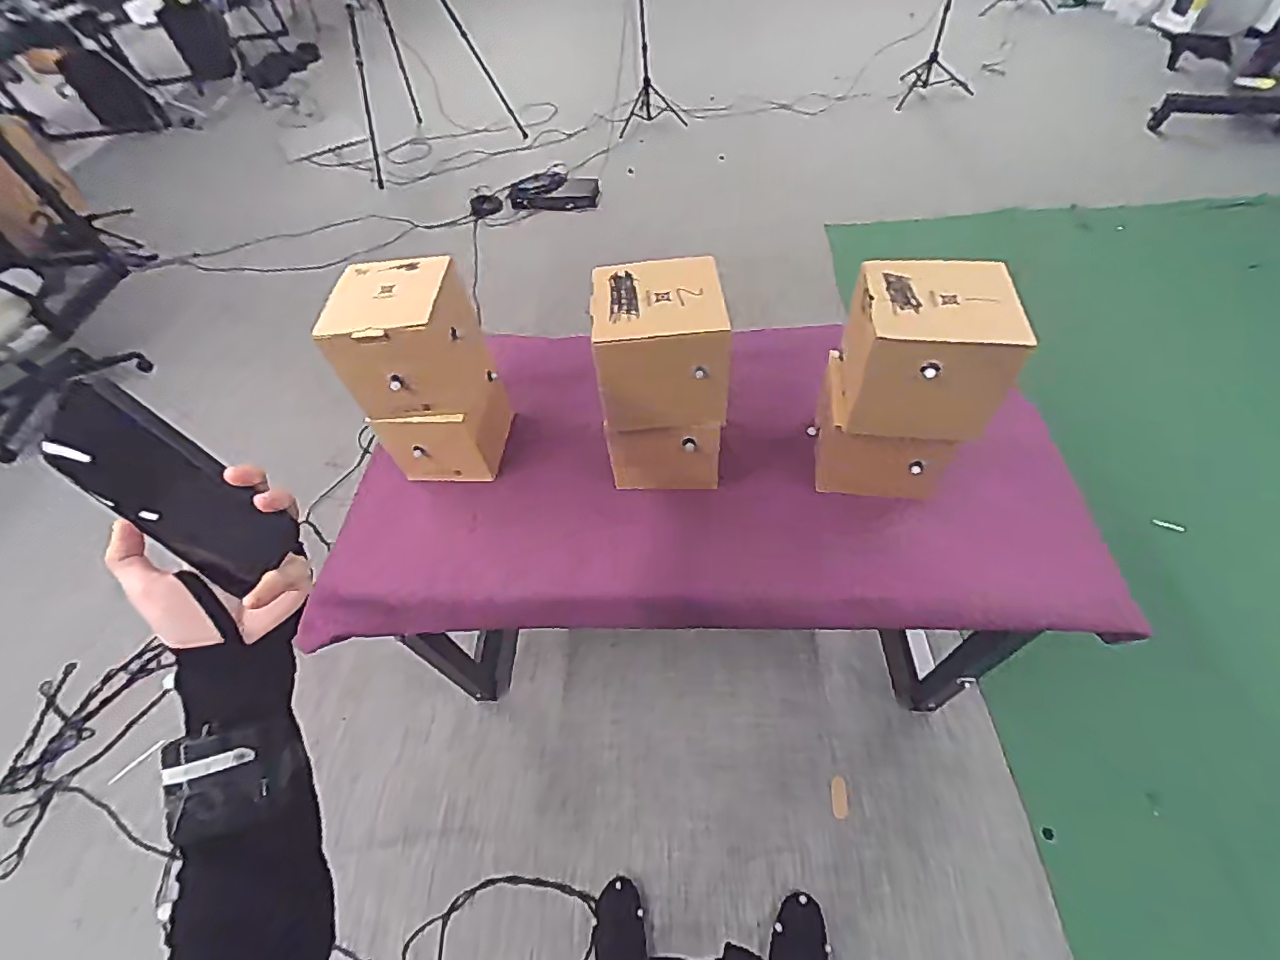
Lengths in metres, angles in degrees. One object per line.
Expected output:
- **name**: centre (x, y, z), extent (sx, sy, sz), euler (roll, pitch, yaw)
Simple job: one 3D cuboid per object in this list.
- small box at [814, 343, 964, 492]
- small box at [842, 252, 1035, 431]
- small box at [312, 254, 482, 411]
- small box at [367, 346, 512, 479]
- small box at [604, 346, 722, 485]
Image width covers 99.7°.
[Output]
- **small box**: centre (0.382, -0.096, 0.861), extent (0.179, 0.176, 0.168), euler (4, 54, 11)
- **small box**: centre (0.374, -0.181, 0.721), extent (0.179, 0.176, 0.168), euler (4, 54, 10)
- **small box**: centre (-0.358, -0.219, 0.839), extent (0.168, 0.176, 0.179), euler (-4, 54, 3)
- **small box**: centre (-0.342, -0.115, 0.965), extent (0.168, 0.176, 0.179), euler (0, 53, 7)
- **small box**: centre (0.045, -0.104, 0.907), extent (0.179, 0.176, 0.168), euler (-1, 53, 7)
